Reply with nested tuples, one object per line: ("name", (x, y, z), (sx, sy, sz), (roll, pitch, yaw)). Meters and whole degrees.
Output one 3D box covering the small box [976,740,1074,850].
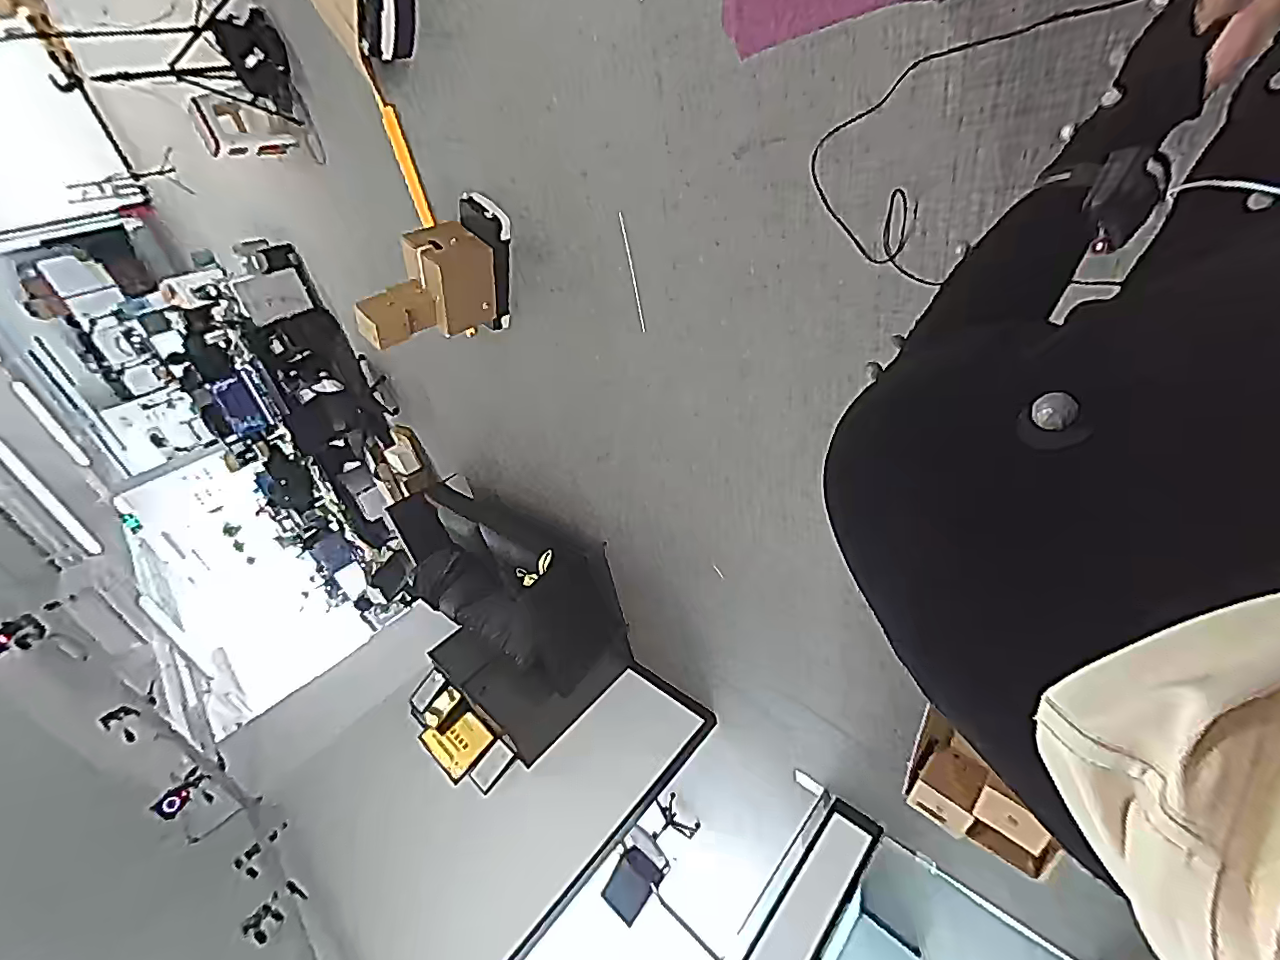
("small box", (1.077, 0.873, 1.511), (0.168, 0.176, 0.179), (26, 138, 38))
